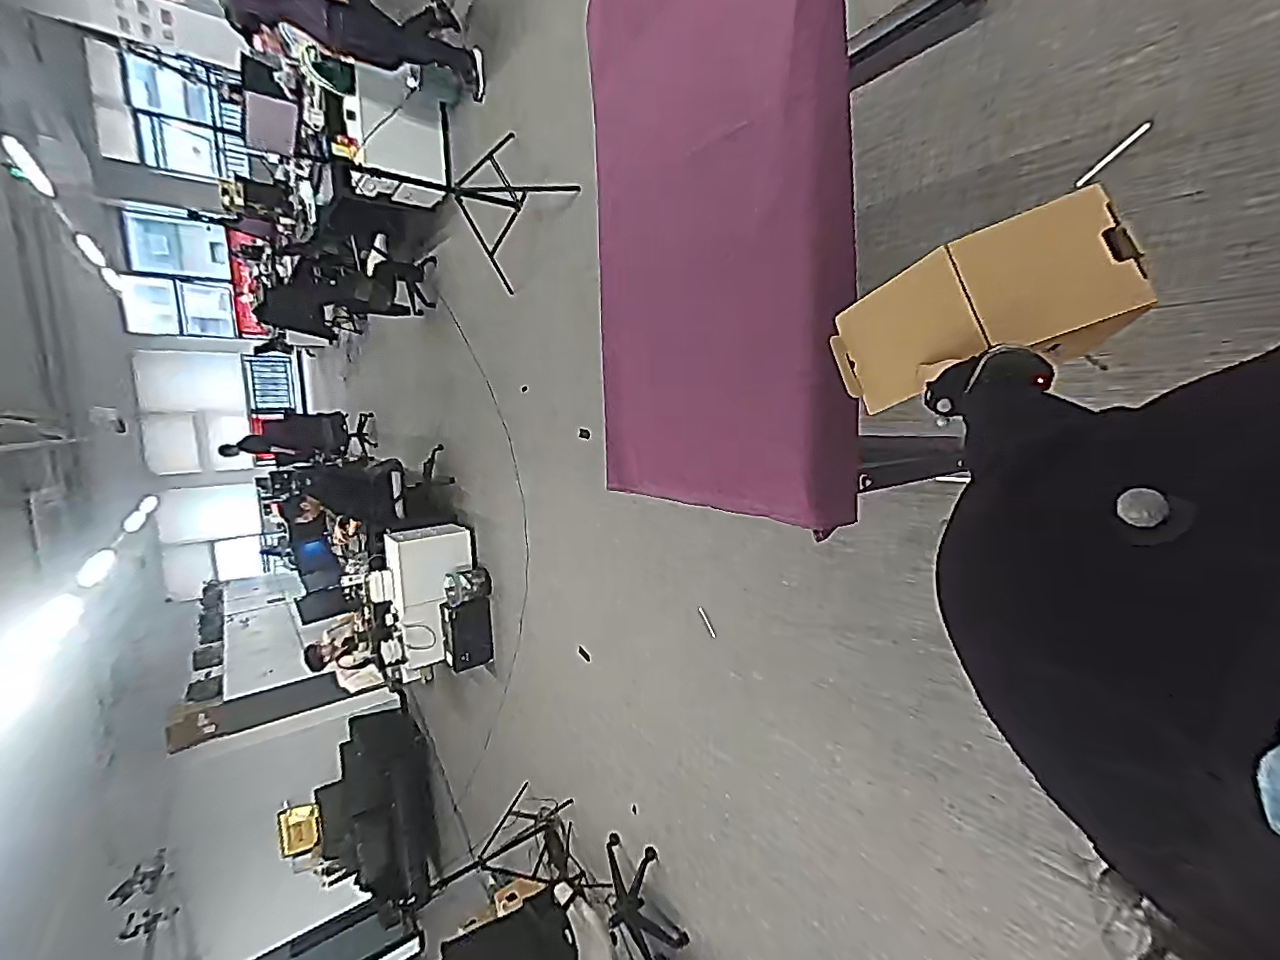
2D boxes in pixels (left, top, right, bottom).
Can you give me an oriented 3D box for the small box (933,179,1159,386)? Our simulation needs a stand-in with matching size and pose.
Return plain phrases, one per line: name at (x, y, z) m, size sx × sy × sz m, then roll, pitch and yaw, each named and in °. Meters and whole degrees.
small box at (0.510, -0.243, 0.717) m, size 0.179 × 0.176 × 0.168 m, roll -19°, pitch 79°, yaw 17°
